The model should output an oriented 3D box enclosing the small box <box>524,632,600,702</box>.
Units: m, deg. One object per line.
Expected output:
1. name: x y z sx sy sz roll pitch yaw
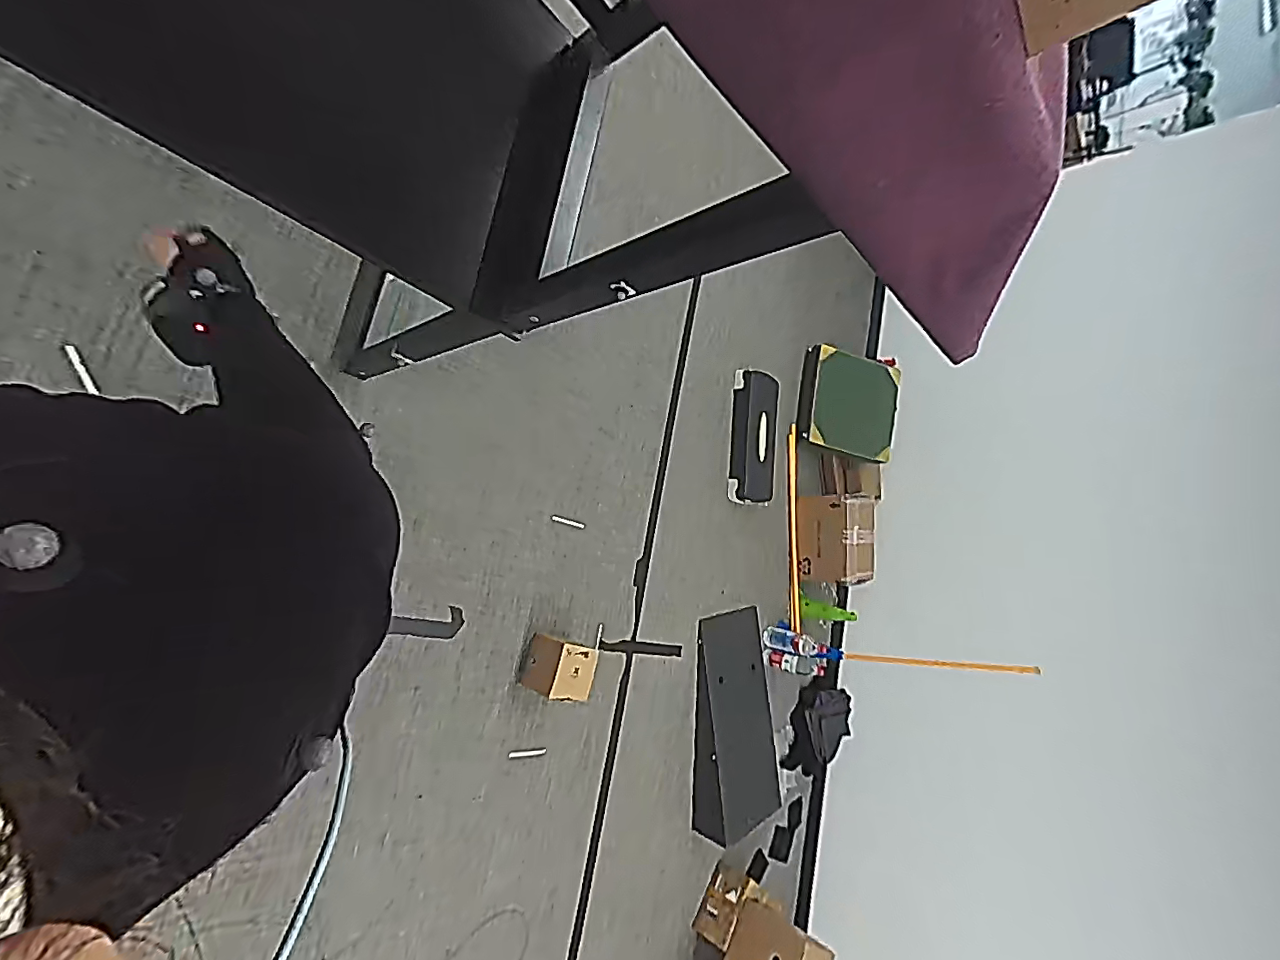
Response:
1. small box: -0.270 0.633 1.833 0.168 0.176 0.179 29 71 -43
